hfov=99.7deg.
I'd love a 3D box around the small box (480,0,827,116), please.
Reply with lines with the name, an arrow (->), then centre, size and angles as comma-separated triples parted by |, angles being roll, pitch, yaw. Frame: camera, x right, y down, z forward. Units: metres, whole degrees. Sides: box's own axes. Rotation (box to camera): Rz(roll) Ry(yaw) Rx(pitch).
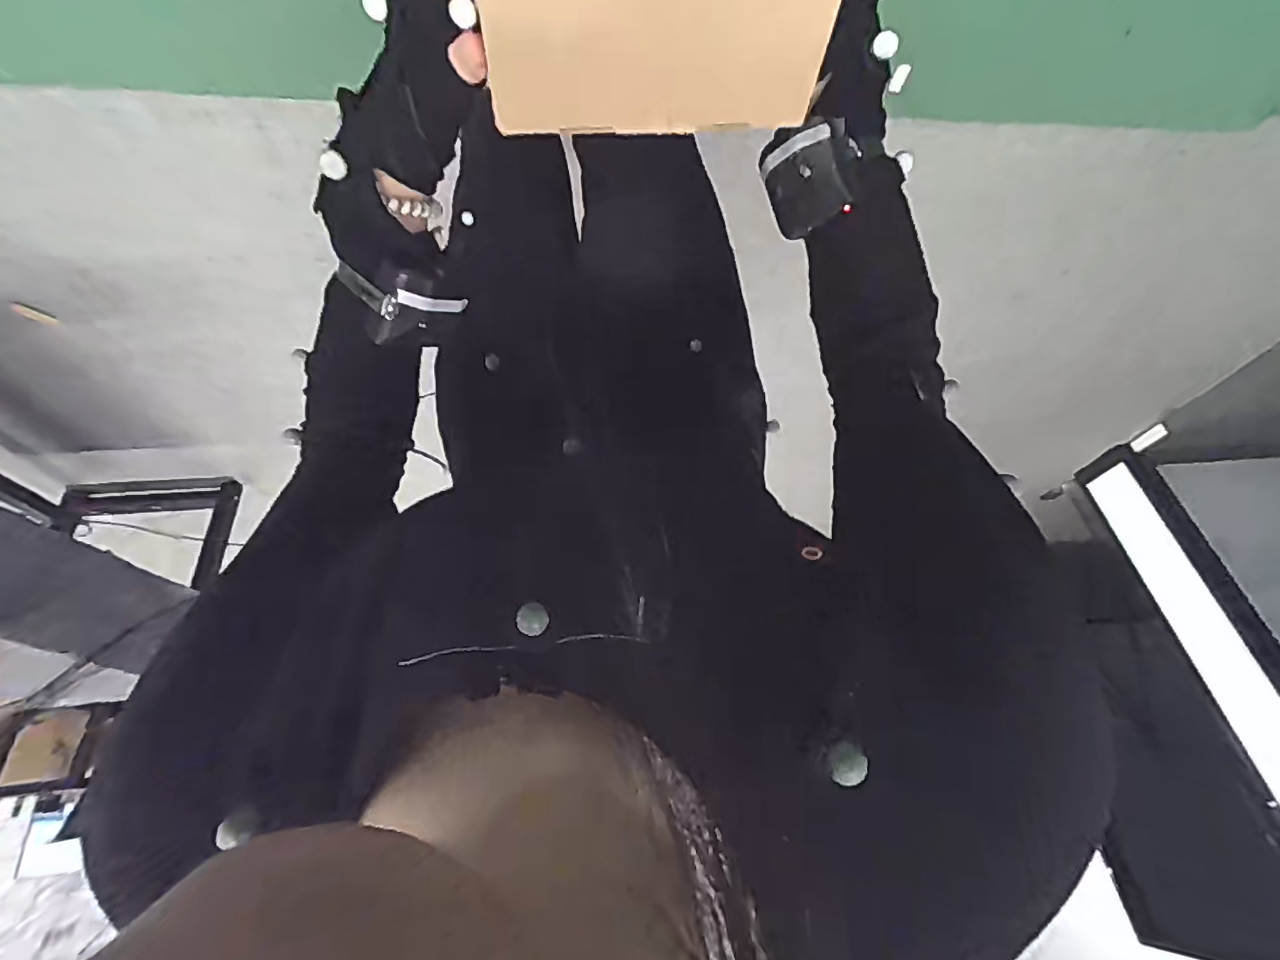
small box -> -0.002, -0.310, 0.252 | 0.168, 0.176, 0.179 | -7, 153, -7
